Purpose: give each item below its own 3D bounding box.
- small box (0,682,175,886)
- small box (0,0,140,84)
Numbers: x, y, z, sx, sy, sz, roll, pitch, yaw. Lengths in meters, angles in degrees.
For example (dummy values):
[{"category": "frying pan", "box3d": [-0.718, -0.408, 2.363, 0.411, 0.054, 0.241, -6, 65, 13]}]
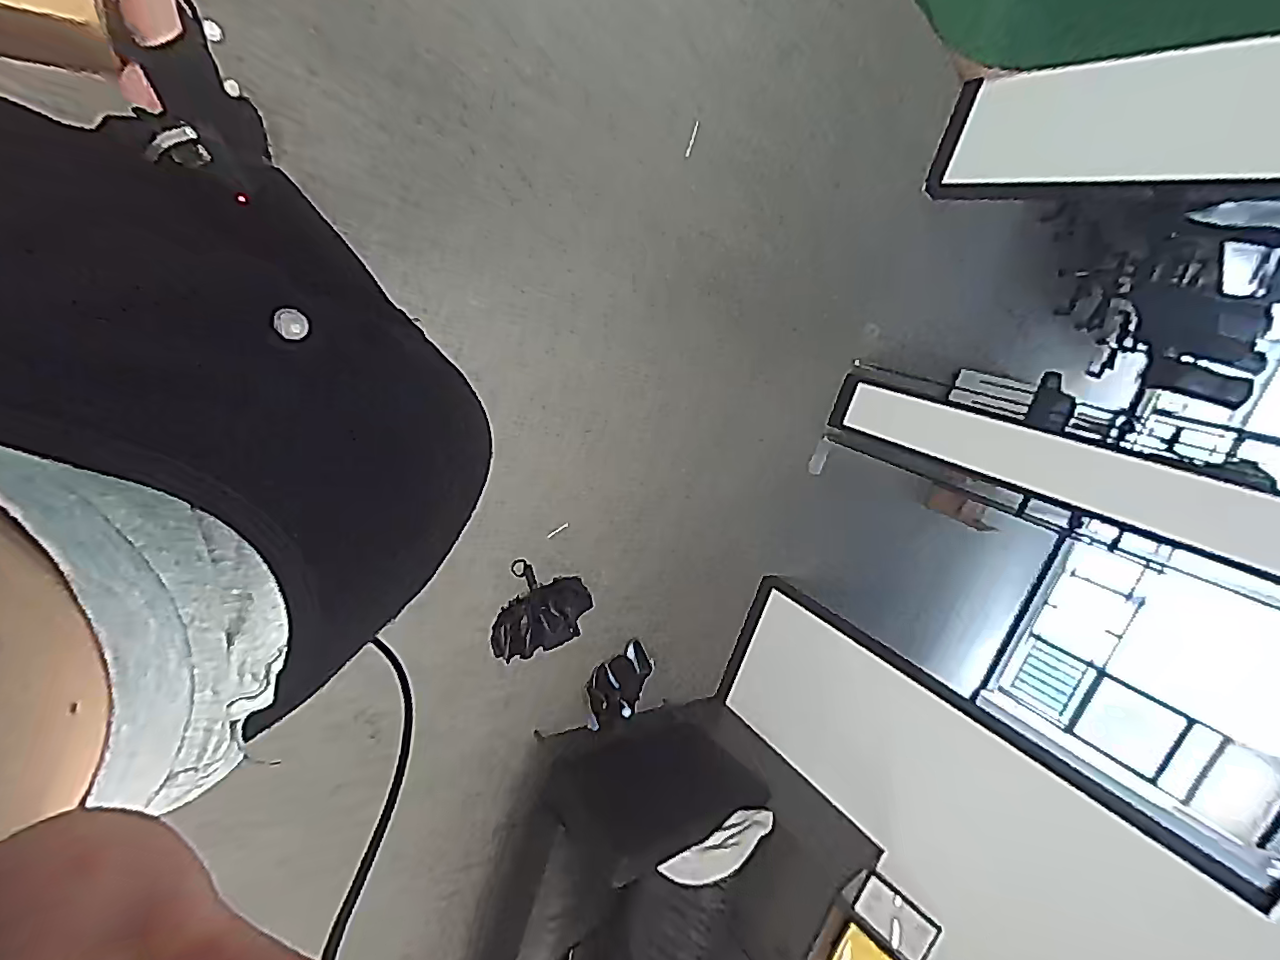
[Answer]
[{"category": "small box", "box3d": [-0.794, 0.422, 0.781, 0.179, 0.176, 0.168, 4, 110, -41]}, {"category": "small box", "box3d": [-0.429, -0.354, 0.309, 0.179, 0.176, 0.168, -13, 118, -34]}]
